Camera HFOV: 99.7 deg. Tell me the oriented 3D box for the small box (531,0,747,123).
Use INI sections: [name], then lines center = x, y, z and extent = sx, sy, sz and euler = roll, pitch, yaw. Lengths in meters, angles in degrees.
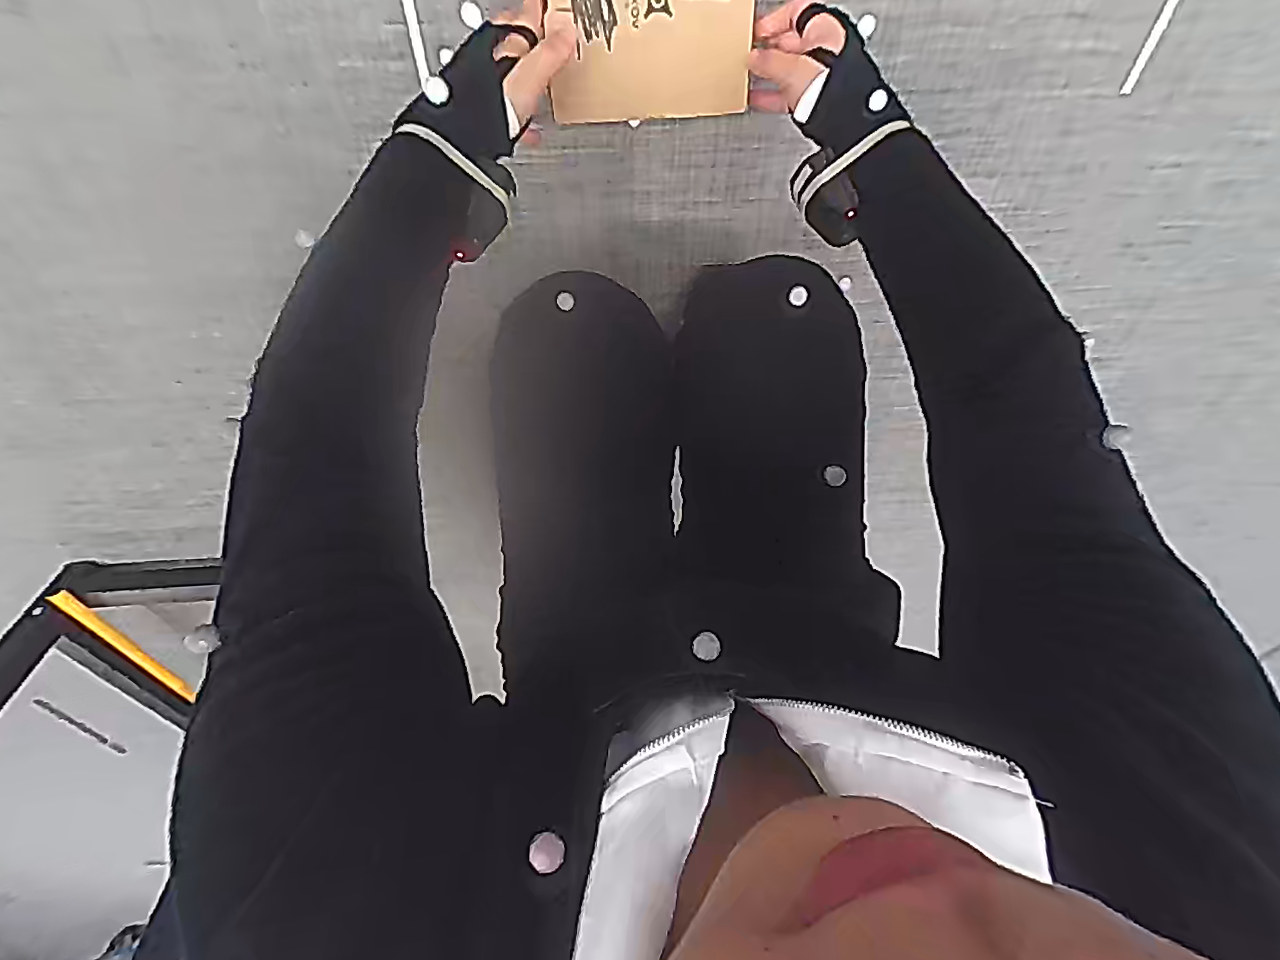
[small box]
center = -0.004, -0.437, 0.488
extent = 0.179, 0.176, 0.168
euler = -4, 134, -1
